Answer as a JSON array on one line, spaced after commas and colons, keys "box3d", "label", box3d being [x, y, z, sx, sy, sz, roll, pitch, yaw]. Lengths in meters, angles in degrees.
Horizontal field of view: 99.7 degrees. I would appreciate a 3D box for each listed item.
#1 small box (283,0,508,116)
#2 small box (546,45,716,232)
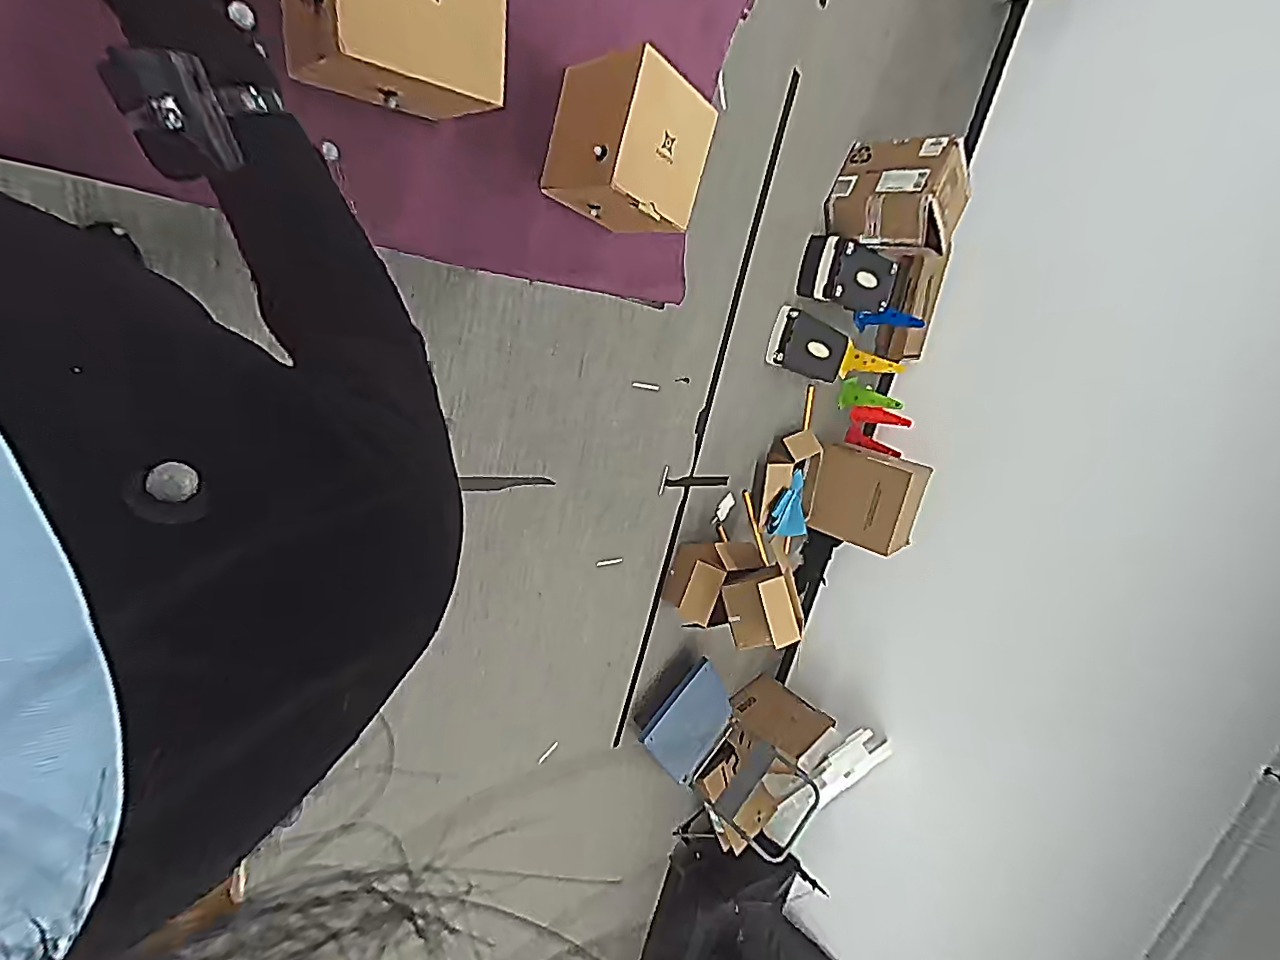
[{"box3d": [-0.251, -0.497, 0.553, 0.168, 0.176, 0.179, -14, 119, -43], "label": "small box"}, {"box3d": [-0.019, -0.493, 0.808, 0.168, 0.176, 0.179, 4, 106, -48], "label": "small box"}]
